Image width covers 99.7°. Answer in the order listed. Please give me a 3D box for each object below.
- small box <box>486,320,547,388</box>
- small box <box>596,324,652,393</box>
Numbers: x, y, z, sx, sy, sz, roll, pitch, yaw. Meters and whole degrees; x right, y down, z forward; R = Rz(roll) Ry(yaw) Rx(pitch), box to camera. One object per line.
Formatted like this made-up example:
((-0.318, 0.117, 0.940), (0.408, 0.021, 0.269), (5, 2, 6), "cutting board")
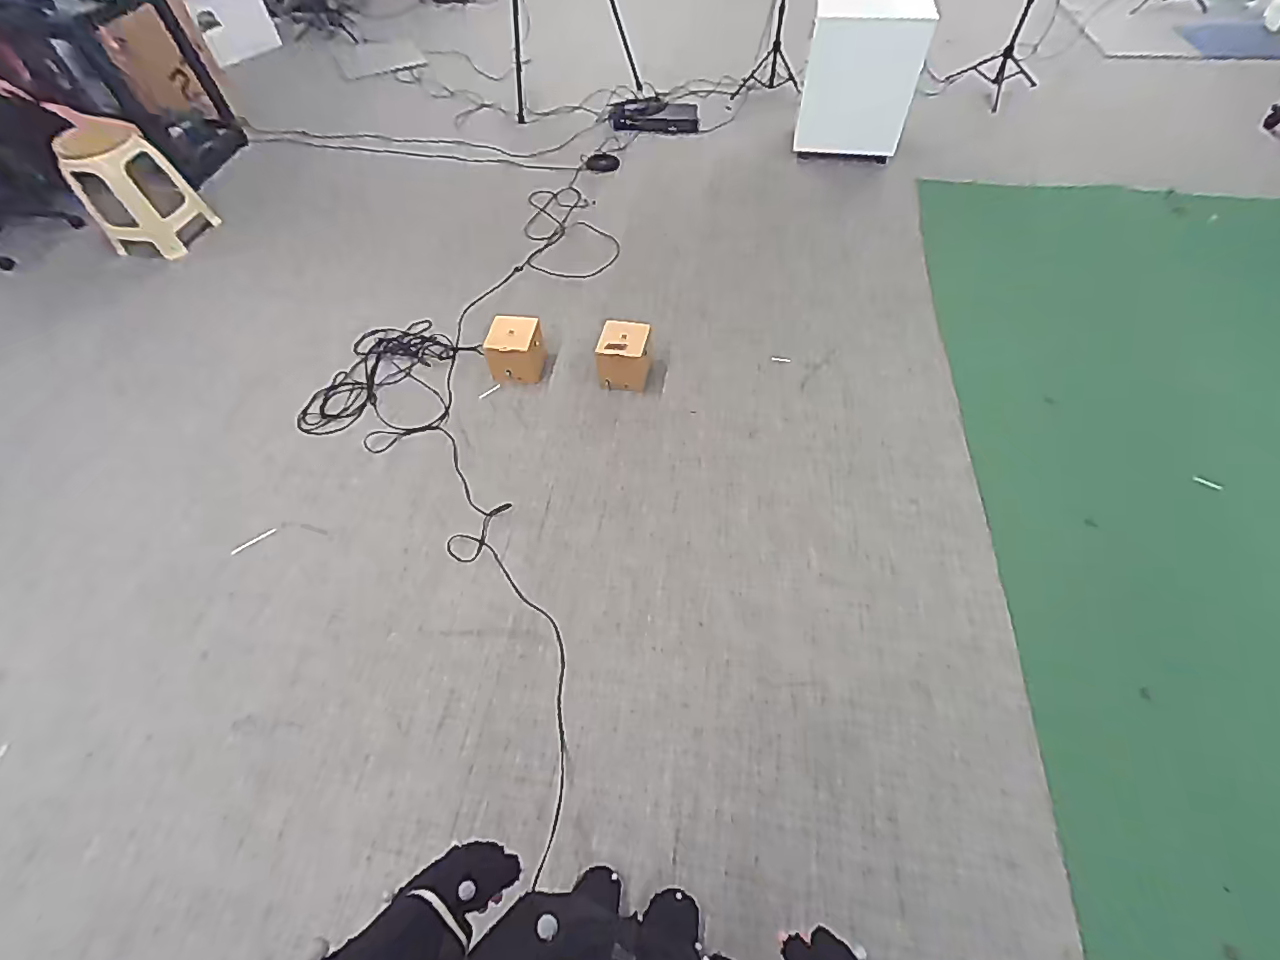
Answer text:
((-0.451, -0.469, 2.010), (0.168, 0.176, 0.179), (5, 57, 6), "small box")
((-0.051, -0.438, 1.966), (0.168, 0.176, 0.179), (9, 56, 9), "small box")
